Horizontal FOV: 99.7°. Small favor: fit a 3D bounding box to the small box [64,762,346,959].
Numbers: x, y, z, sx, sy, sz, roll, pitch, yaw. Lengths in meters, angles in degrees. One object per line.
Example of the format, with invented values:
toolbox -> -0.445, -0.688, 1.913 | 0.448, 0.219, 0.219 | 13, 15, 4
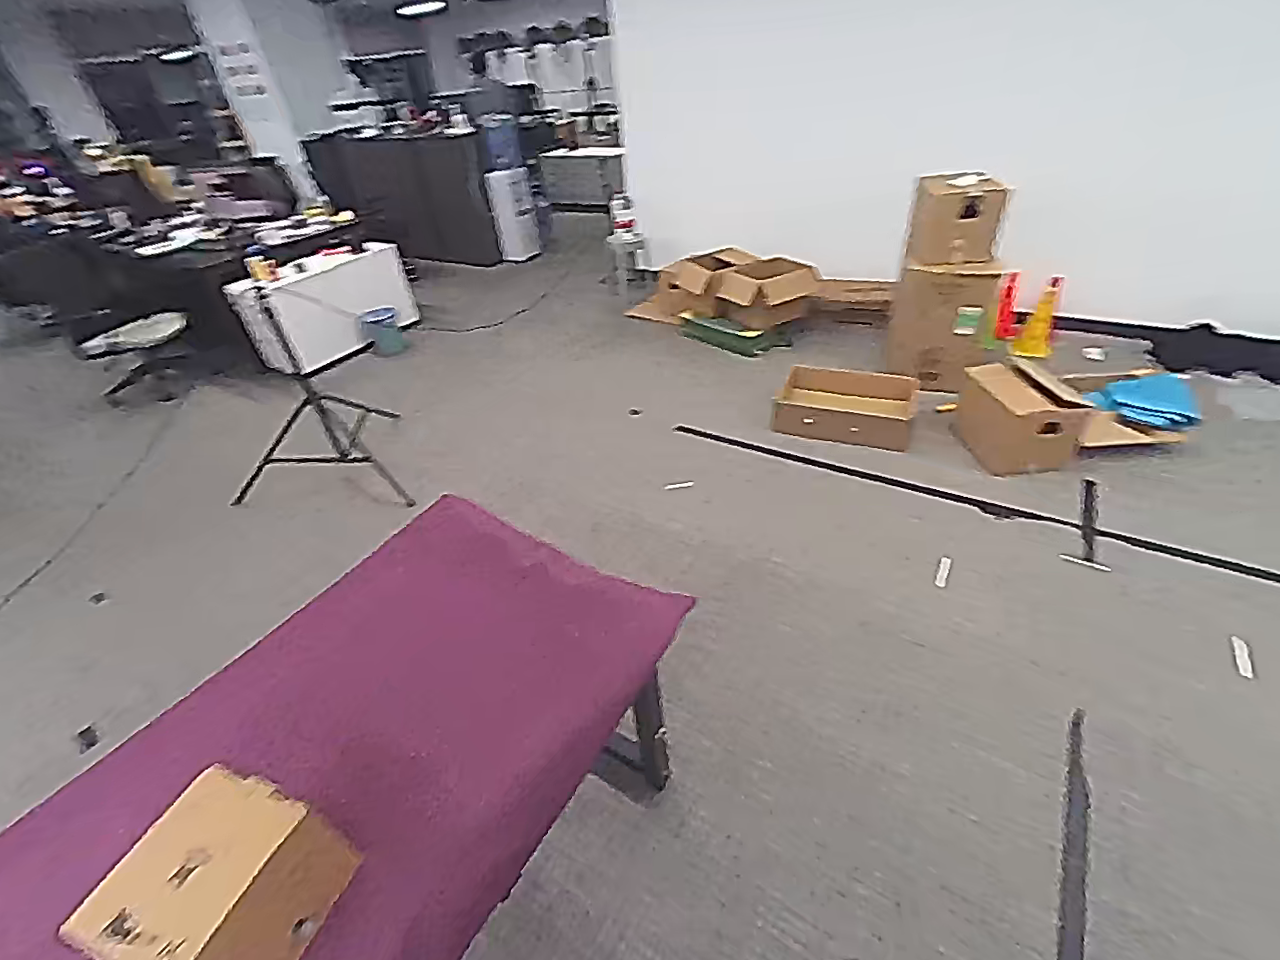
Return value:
small box -> -0.487, 0.482, 0.643 | 0.168, 0.176, 0.179 | 8, 40, 19
